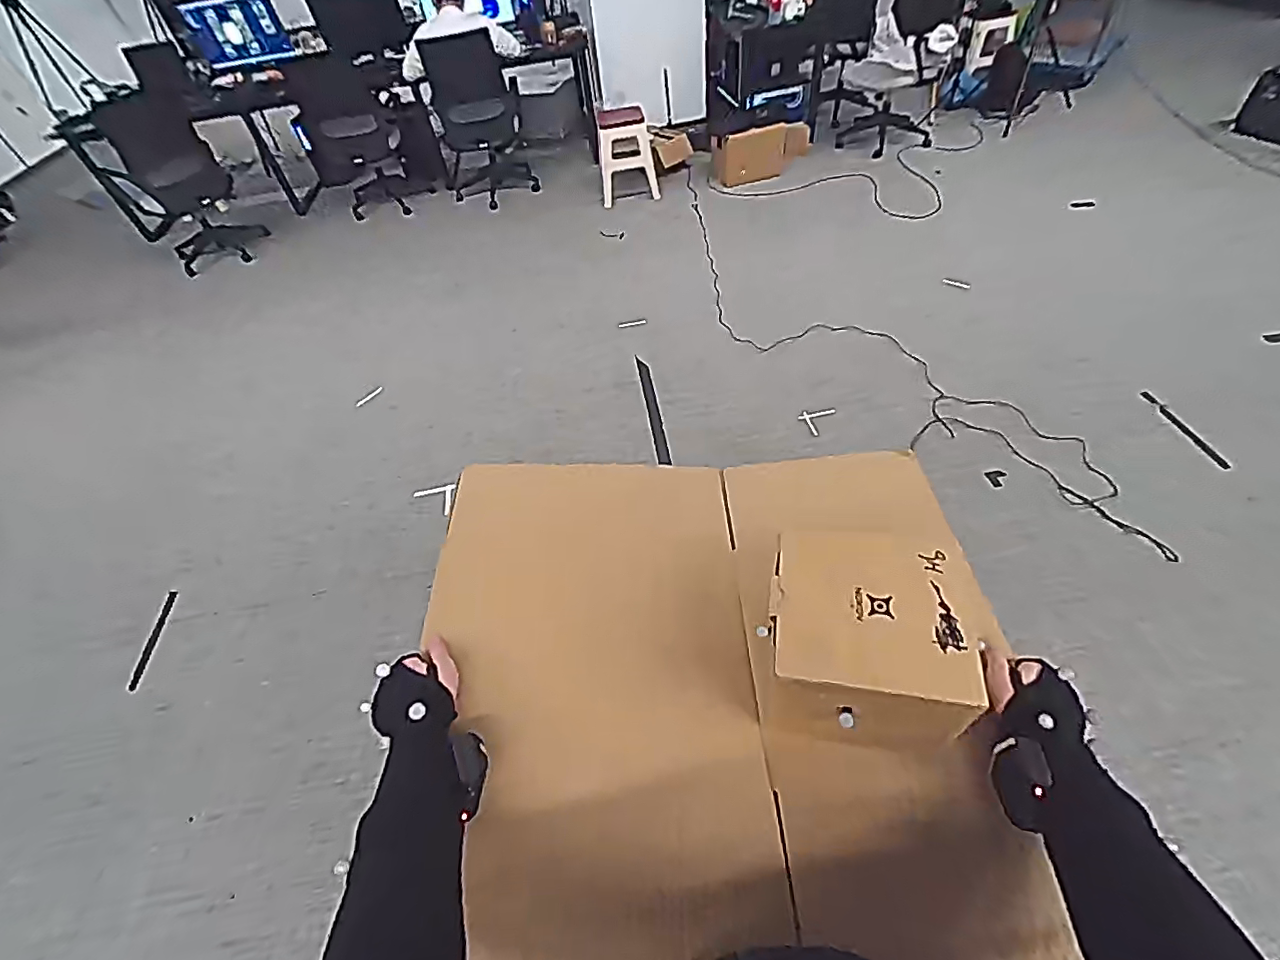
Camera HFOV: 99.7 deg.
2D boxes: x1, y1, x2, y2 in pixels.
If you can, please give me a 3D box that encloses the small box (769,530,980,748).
[{"bbox_3d":[0.232,0.171,0.581,0.179,0.176,0.168,3,51,14],"label":"small box"}]
